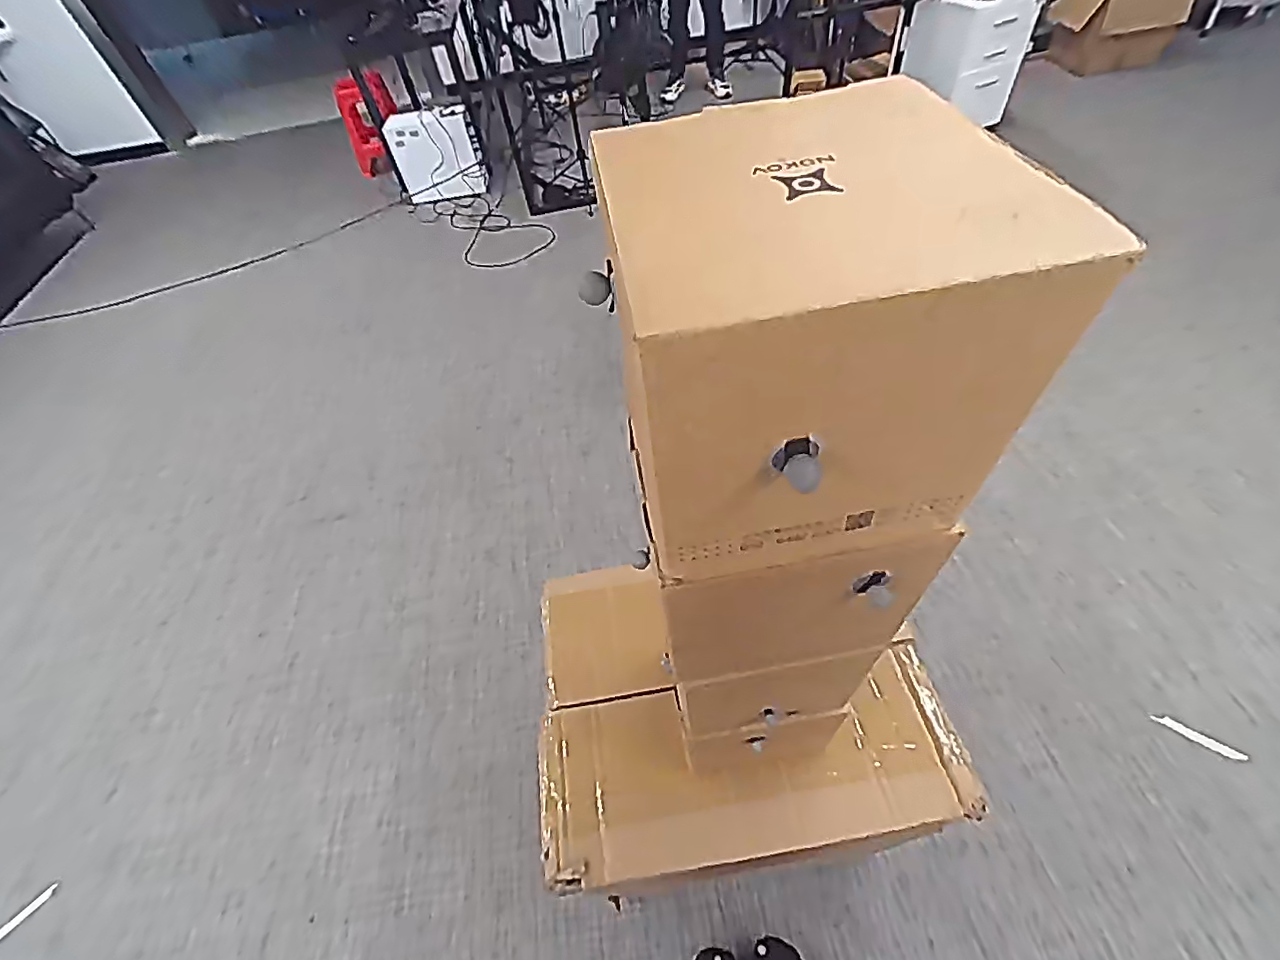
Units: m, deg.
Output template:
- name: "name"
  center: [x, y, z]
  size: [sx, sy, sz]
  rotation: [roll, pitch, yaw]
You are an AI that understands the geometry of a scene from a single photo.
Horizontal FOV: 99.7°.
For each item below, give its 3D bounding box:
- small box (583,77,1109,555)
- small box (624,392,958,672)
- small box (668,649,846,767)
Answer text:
- name: "small box"
  center: [0.071, -0.075, 0.288]
  size: [0.168, 0.176, 0.179]
  rotation: [-10, 51, 0]
- name: "small box"
  center: [0.091, 0.029, 0.411]
  size: [0.179, 0.176, 0.168]
  rotation: [-10, 51, 0]
- name: "small box"
  center: [0.127, 0.237, 0.664]
  size: [0.179, 0.176, 0.168]
  rotation: [-10, 51, 0]
